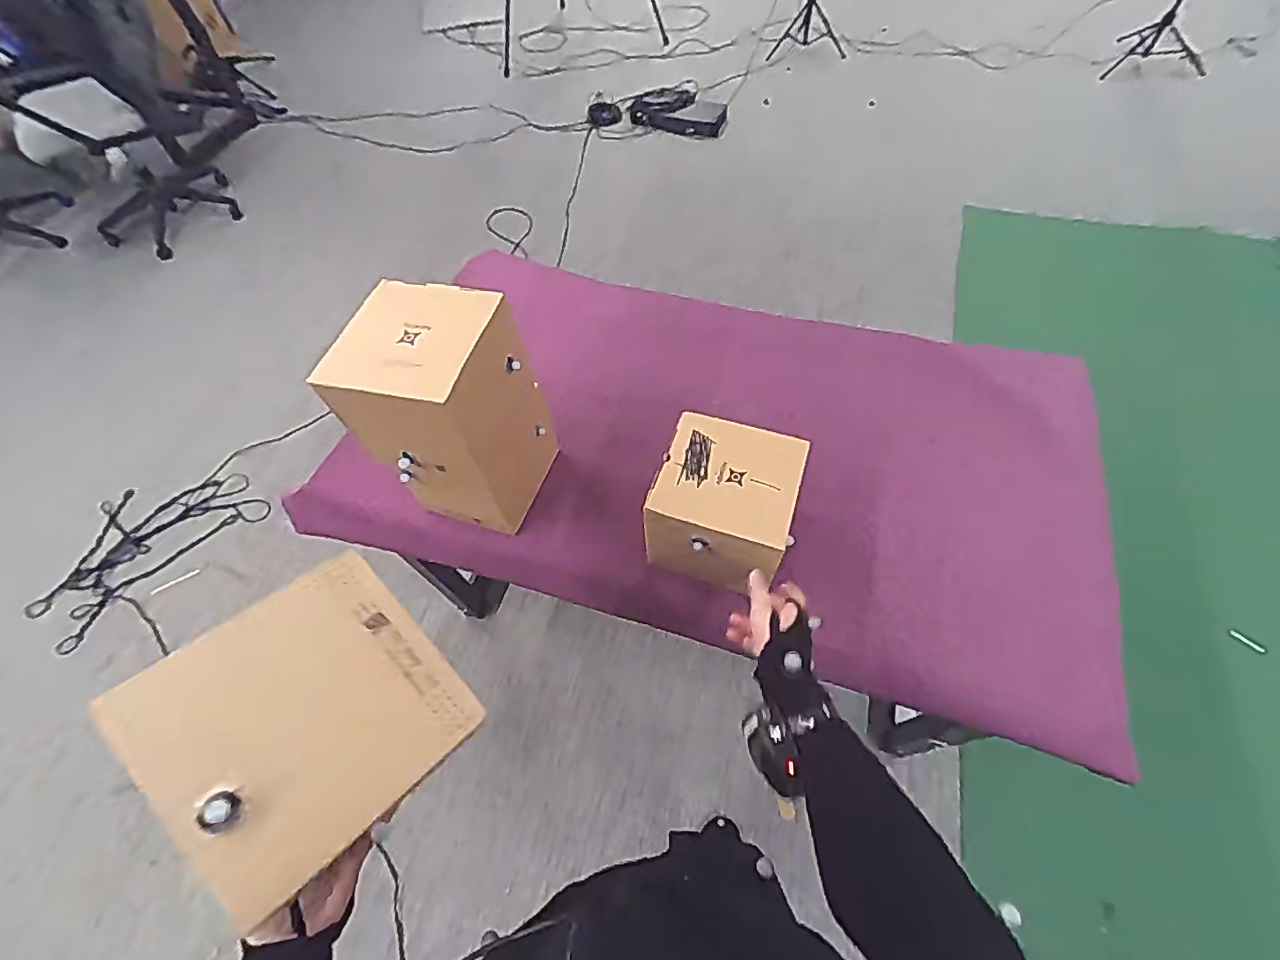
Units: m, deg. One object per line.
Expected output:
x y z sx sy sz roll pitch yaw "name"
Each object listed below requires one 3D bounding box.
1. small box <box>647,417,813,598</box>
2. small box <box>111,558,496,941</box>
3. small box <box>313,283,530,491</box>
0.120 0.043 0.746 0.179 0.176 0.168 16 60 12 "small box"
-0.233 0.192 0.420 0.168 0.179 0.176 48 54 8 "small box"
-0.249 -0.113 0.673 0.168 0.176 0.179 10 58 10 "small box"
